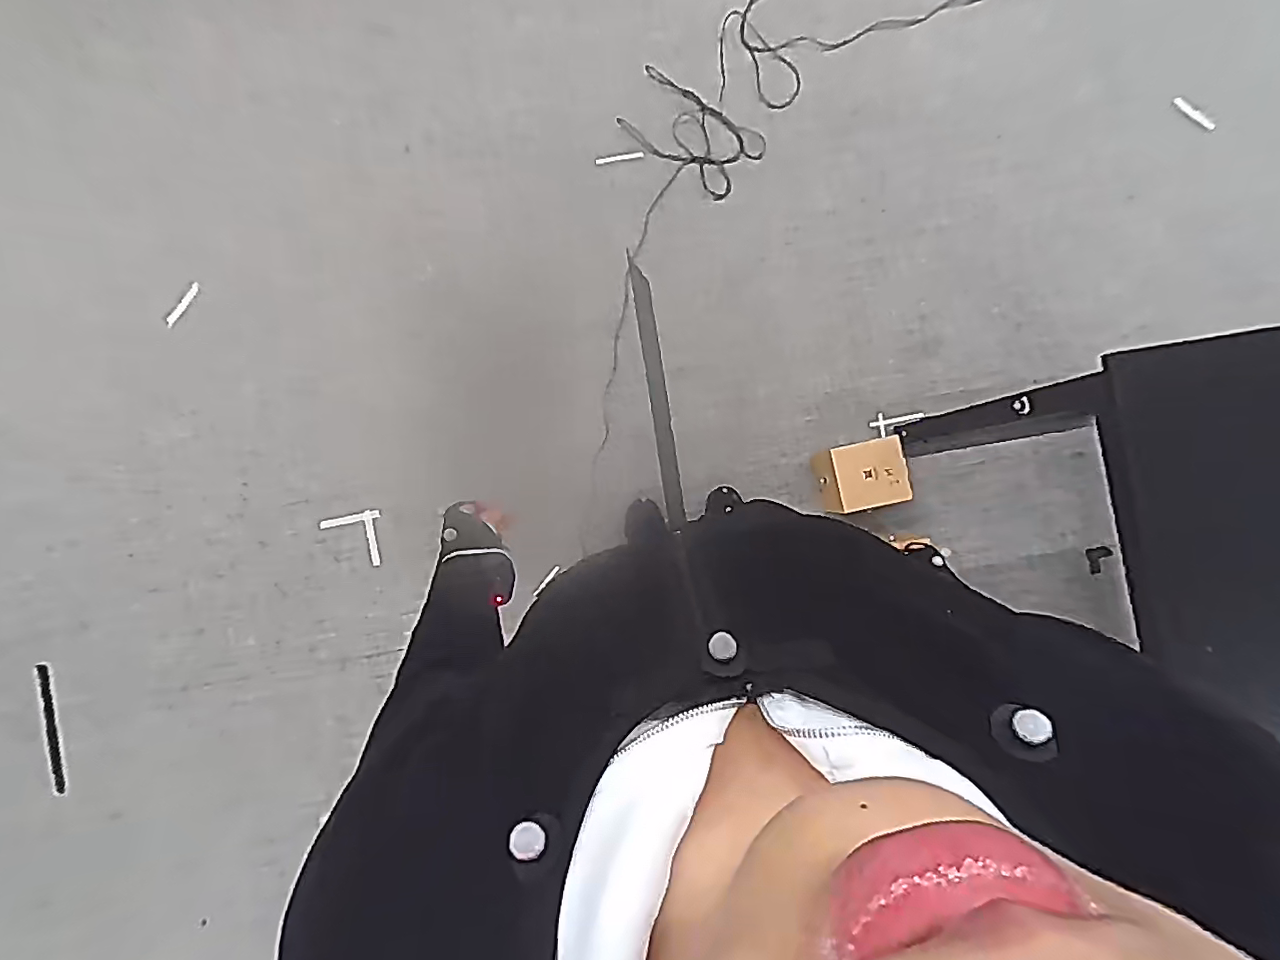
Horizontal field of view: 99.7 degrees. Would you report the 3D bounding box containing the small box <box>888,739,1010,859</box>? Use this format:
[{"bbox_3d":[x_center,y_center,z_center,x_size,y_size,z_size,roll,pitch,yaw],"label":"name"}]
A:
[{"bbox_3d":[0.786,0.808,1.393,0.179,0.176,0.168,34,89,2],"label":"small box"}]

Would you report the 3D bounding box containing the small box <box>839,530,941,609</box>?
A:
[{"bbox_3d":[0.646,0.227,1.413,0.179,0.176,0.168,-10,88,2],"label":"small box"}]
